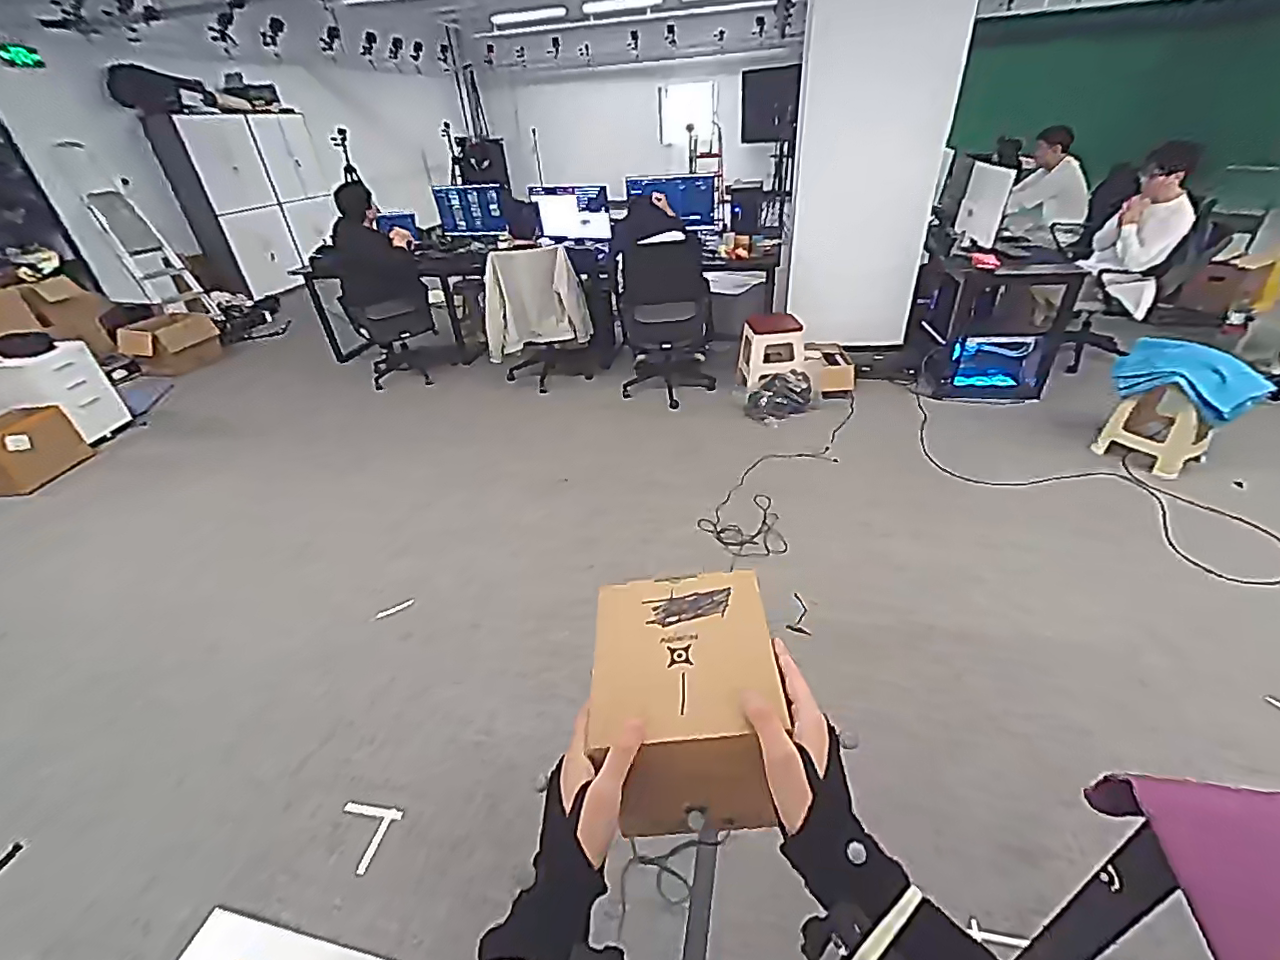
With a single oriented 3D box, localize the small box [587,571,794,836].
[{"bbox_3d":[0.051,0.217,0.535,0.168,0.176,0.179,-8,35,6],"label":"small box"}]
